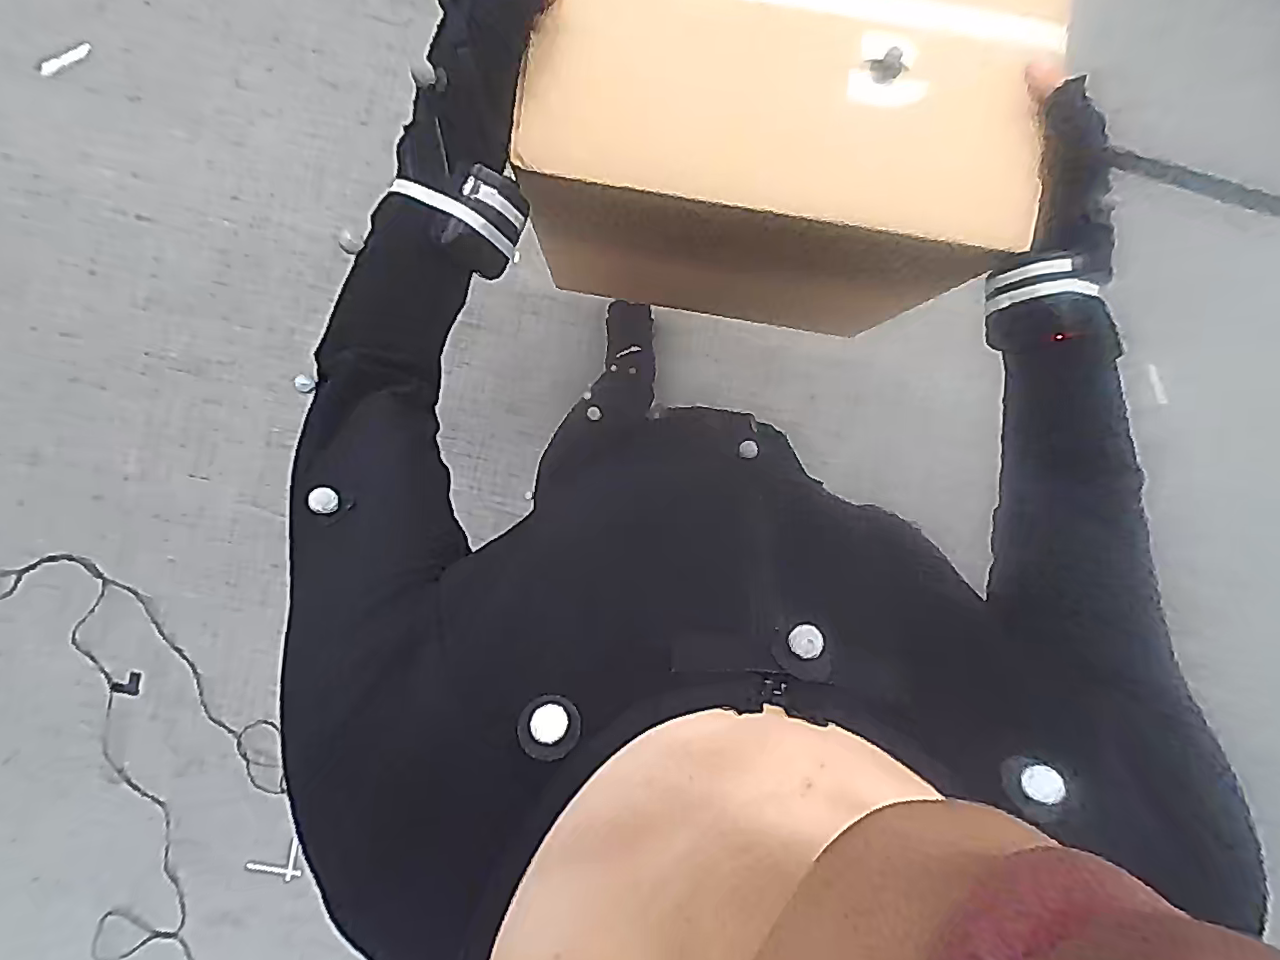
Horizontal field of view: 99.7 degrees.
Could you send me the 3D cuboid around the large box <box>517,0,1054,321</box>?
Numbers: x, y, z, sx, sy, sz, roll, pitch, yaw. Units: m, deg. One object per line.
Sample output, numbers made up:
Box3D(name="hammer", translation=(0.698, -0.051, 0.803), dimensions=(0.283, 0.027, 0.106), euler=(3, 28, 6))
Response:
Box3D(name="large box", translation=(0.112, -0.378, 0.560), dimensions=(0.408, 0.320, 0.320), euler=(8, 93, -3))
